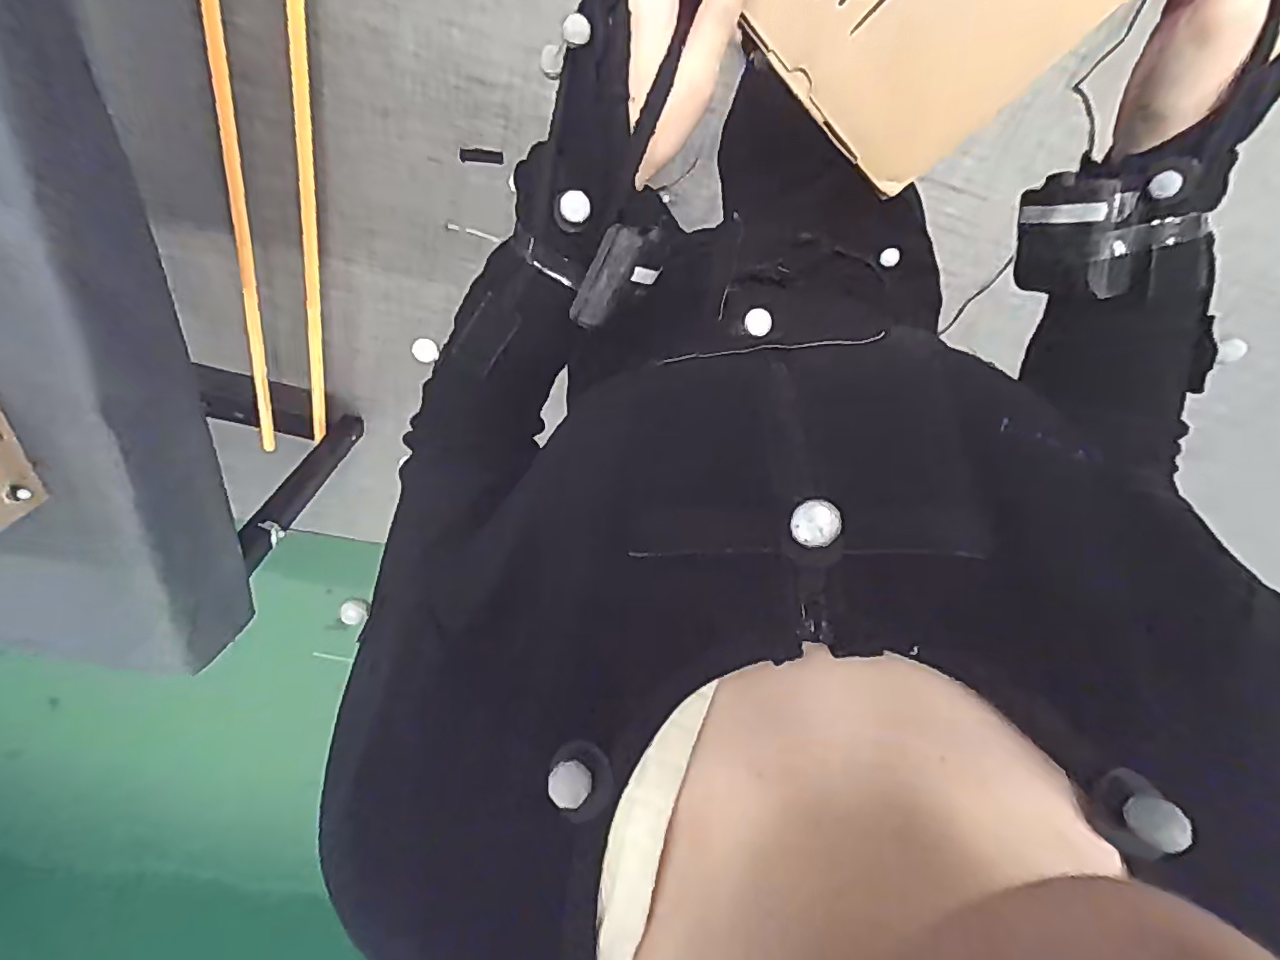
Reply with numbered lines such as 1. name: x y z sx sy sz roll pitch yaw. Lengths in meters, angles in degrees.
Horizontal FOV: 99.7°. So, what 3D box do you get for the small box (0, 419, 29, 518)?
1. small box: -0.791 -0.014 0.539 0.179 0.176 0.168 11 125 -6
